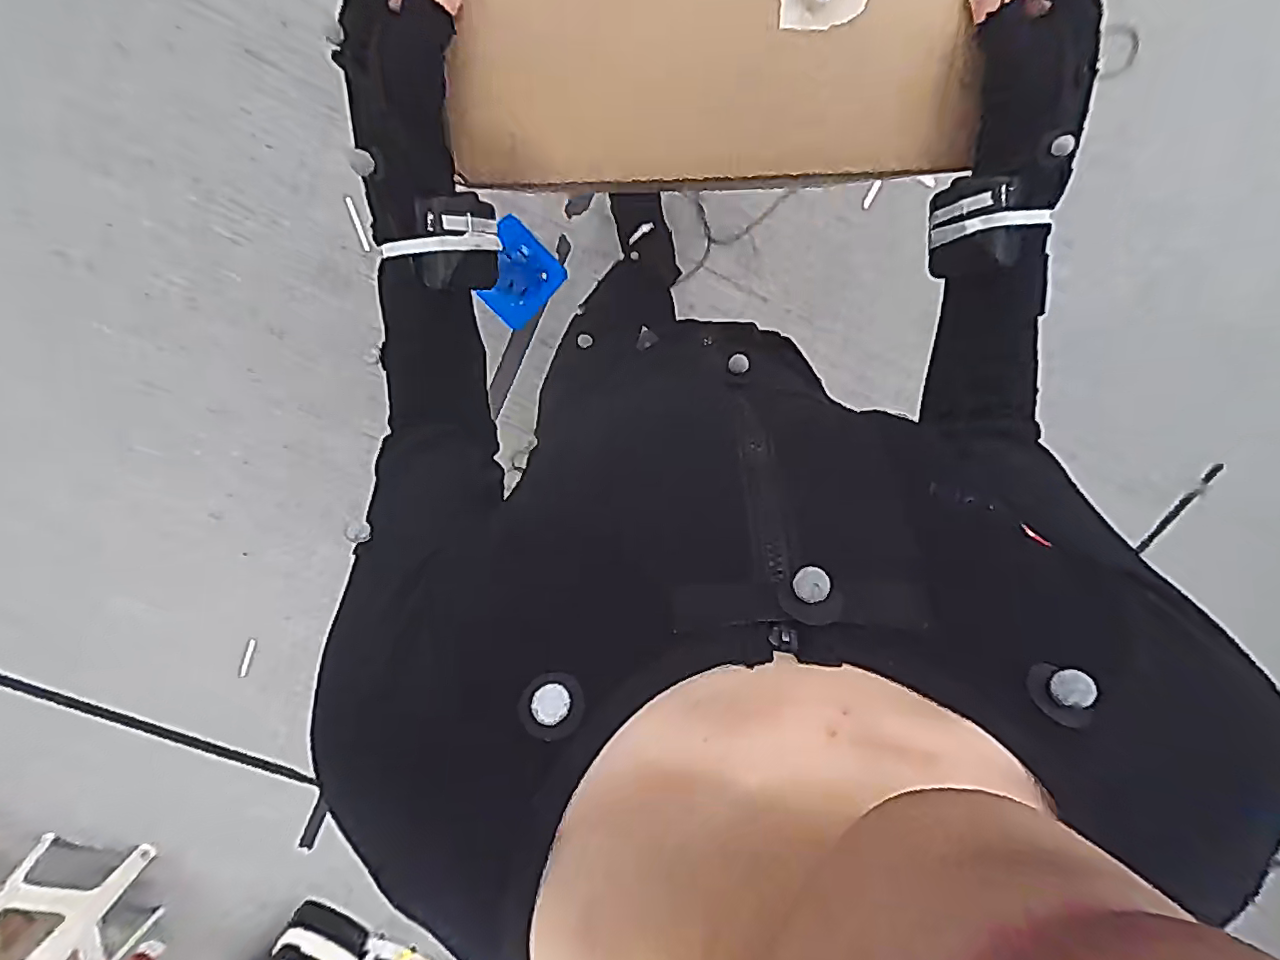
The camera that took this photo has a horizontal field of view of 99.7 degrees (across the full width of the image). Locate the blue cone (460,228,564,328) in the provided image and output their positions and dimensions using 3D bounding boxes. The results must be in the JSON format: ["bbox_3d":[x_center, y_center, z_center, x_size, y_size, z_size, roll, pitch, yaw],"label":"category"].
[{"bbox_3d":[-0.308,-0.442,1.180,0.192,0.380,0.193,-41,104,14],"label":"blue cone"}]

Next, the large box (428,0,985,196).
[{"bbox_3d":[0.040,-0.450,0.493,0.408,0.320,0.320,-3,116,0],"label":"large box"}]
